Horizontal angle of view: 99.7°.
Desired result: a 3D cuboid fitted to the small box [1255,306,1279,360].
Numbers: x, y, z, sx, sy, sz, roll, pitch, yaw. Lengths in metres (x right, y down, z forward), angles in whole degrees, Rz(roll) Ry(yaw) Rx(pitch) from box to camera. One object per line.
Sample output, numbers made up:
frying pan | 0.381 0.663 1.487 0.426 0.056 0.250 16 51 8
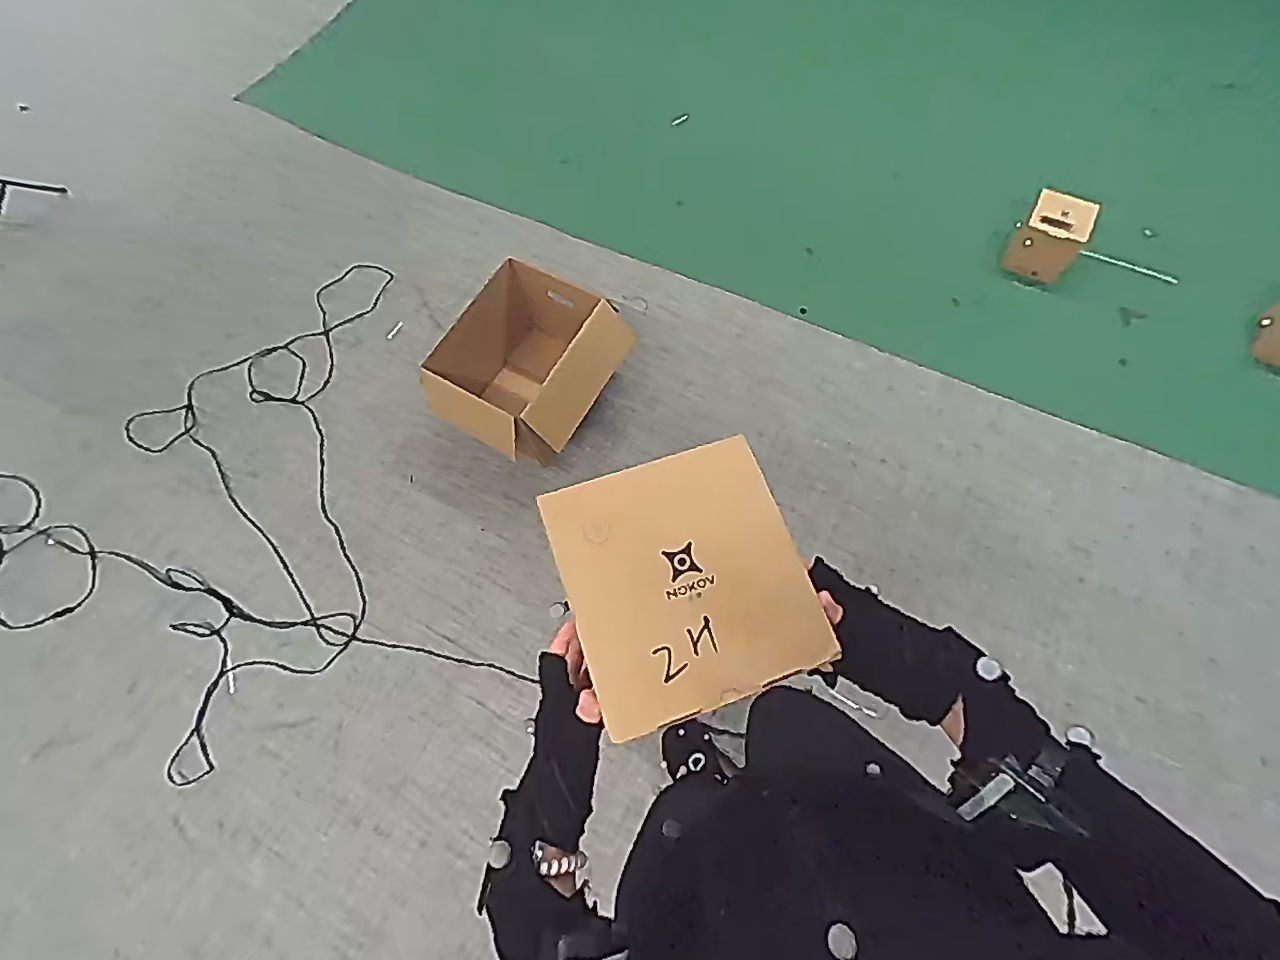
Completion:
small box | 1.902 -0.428 1.504 0.179 0.176 0.168 27 71 14

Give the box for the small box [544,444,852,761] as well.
small box | 0.029 0.098 0.437 0.168 0.176 0.179 -17 72 -9
